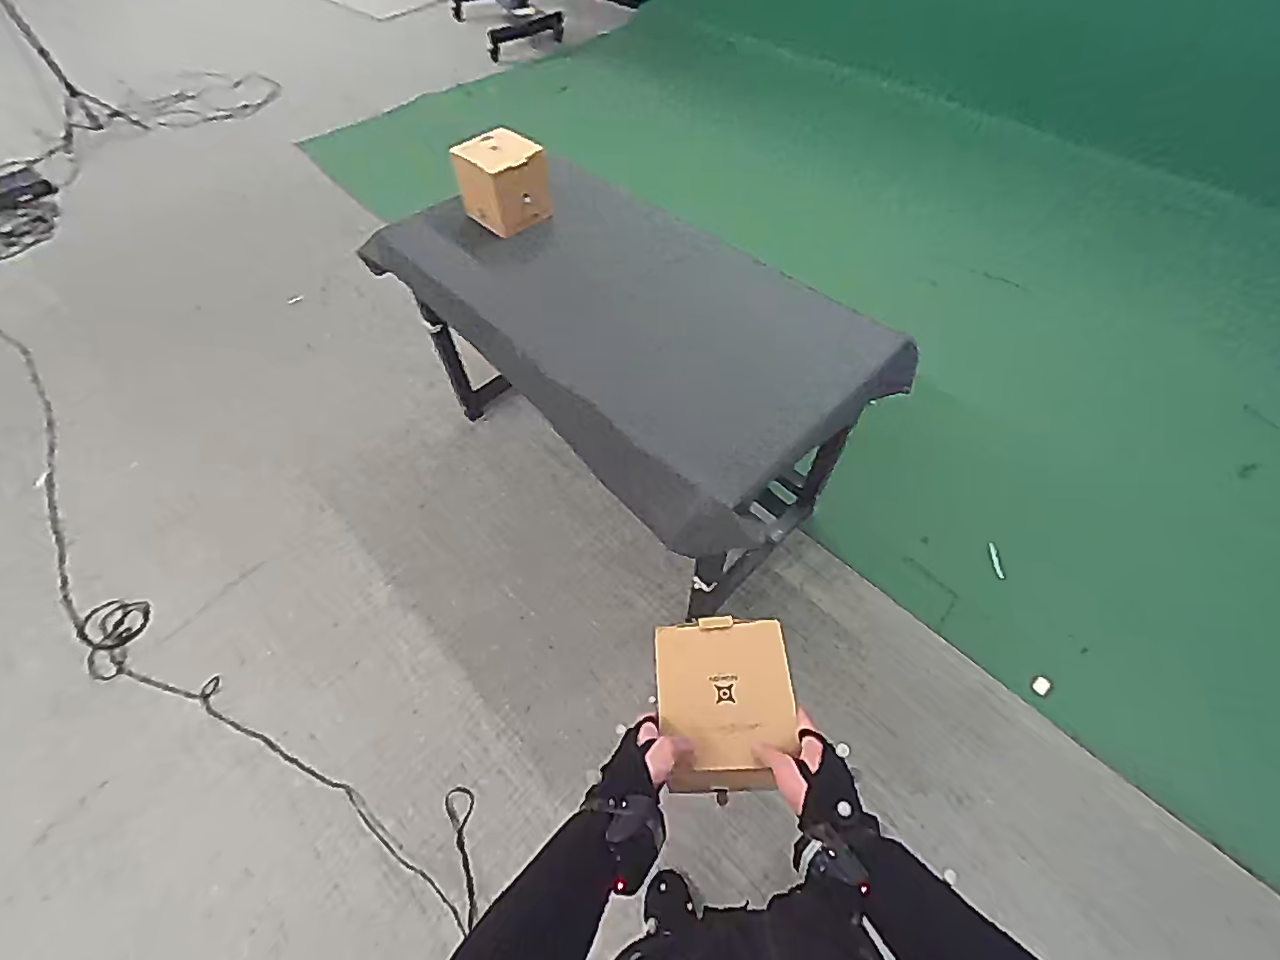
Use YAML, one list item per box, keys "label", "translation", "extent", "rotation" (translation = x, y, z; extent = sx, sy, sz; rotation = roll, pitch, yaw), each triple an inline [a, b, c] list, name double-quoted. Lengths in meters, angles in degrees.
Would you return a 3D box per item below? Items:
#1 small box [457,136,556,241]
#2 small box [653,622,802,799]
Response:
- label: "small box"
  translation: [-0.338, -0.751, 1.405]
  extent: [0.179, 0.176, 0.168]
  rotation: [40, 65, 23]
- label: "small box"
  translation: [0.106, 0.302, 0.706]
  extent: [0.168, 0.176, 0.179]
  rotation: [-4, 52, 6]
